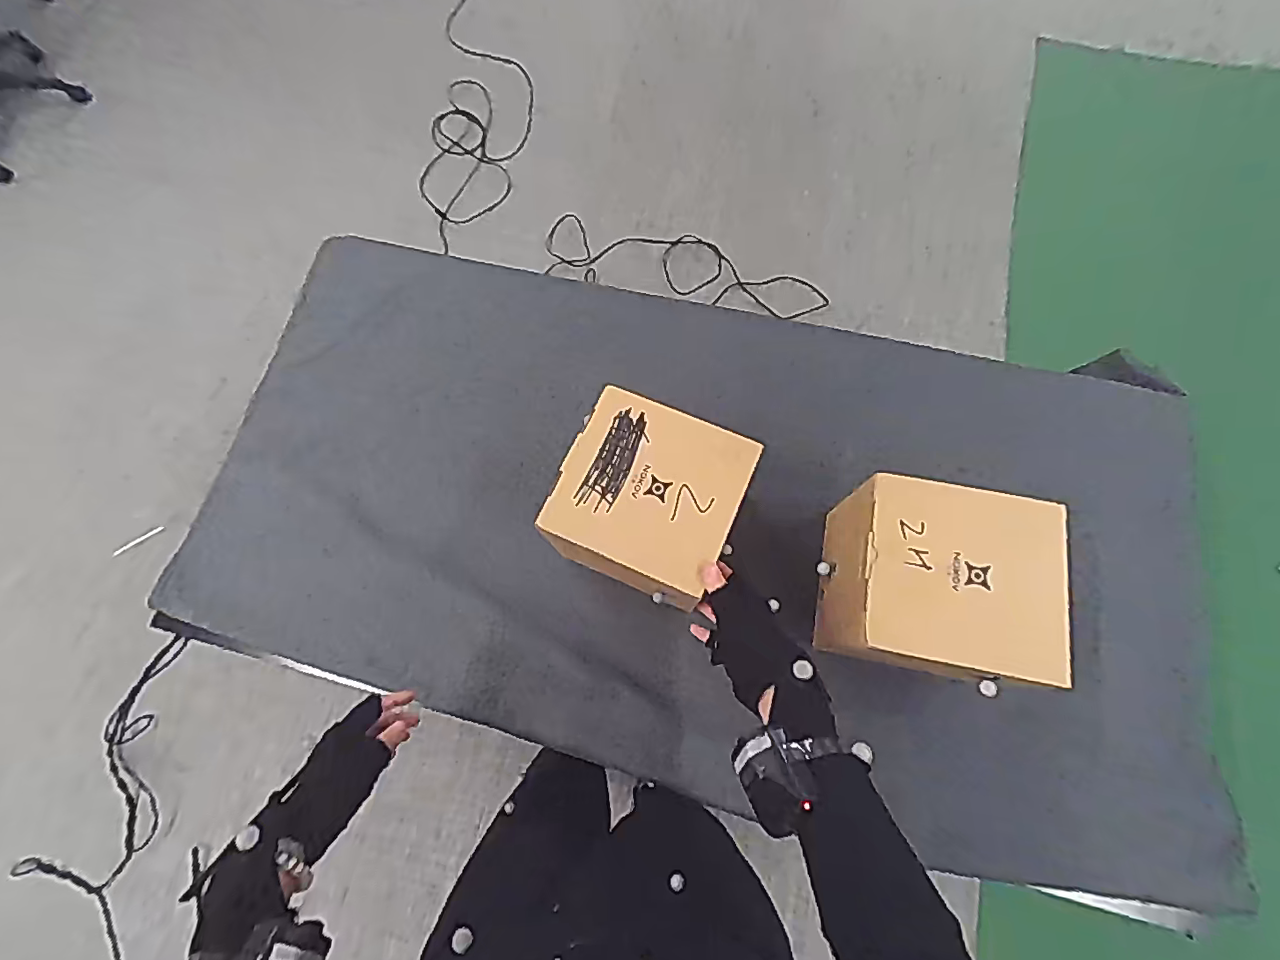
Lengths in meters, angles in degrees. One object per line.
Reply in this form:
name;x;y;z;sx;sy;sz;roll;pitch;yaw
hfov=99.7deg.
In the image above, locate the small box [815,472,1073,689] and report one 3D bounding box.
small box;0.300;0.108;0.562;0.179;0.176;0.168;11;72;6
